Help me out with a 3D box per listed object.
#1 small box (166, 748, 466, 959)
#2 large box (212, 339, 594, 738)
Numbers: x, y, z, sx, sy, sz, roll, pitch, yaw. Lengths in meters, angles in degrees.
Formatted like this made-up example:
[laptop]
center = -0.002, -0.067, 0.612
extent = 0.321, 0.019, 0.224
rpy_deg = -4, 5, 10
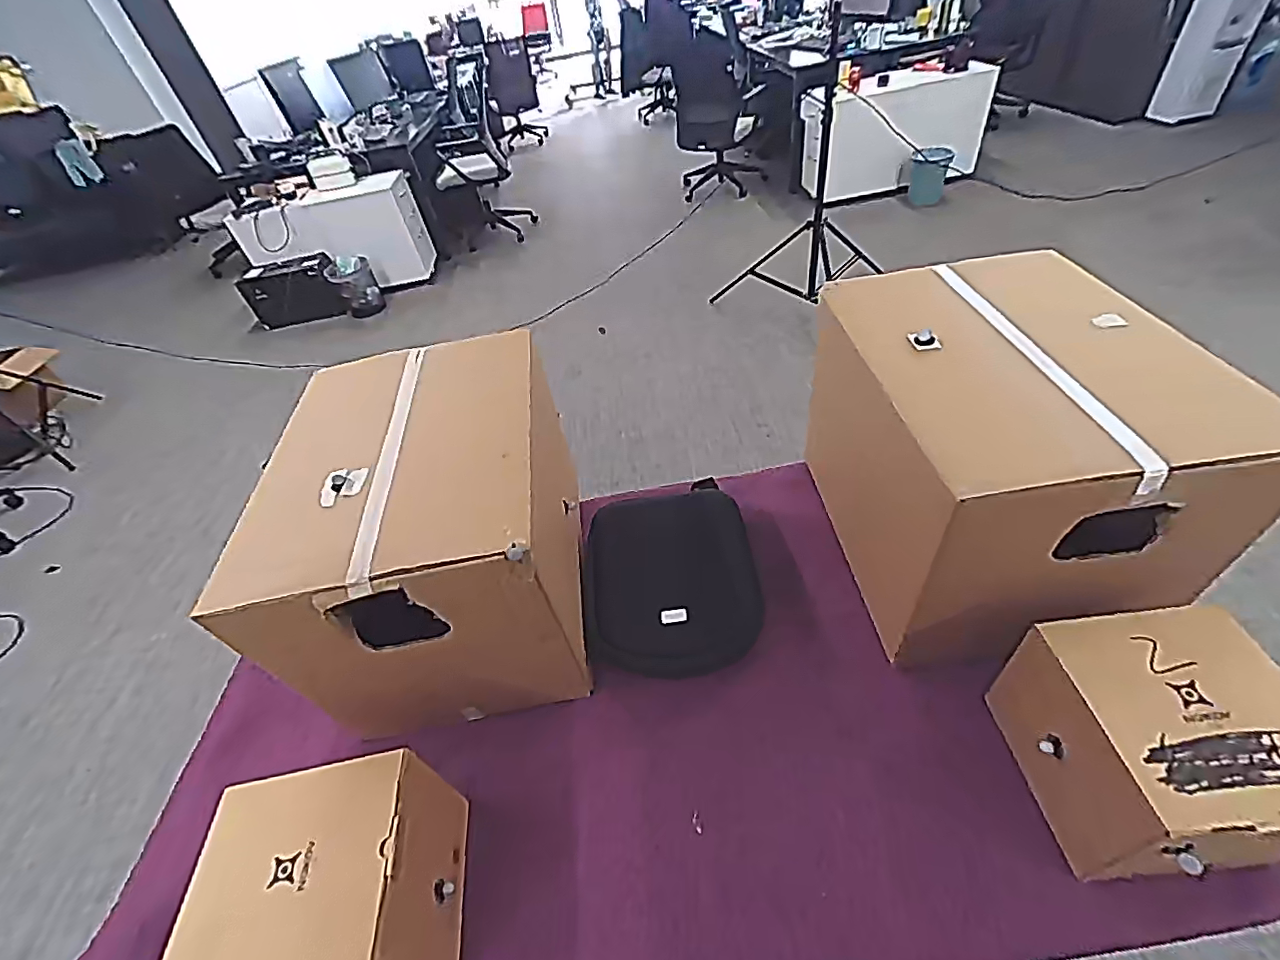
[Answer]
[small box]
center = -0.285, 0.387, 0.514
extent = 0.179, 0.176, 0.168
rpy_deg = -12, 43, -2
[large box]
center = -0.256, 0.069, 0.735
extent = 0.320, 0.320, 0.408
rpy_deg = -12, 46, 0
